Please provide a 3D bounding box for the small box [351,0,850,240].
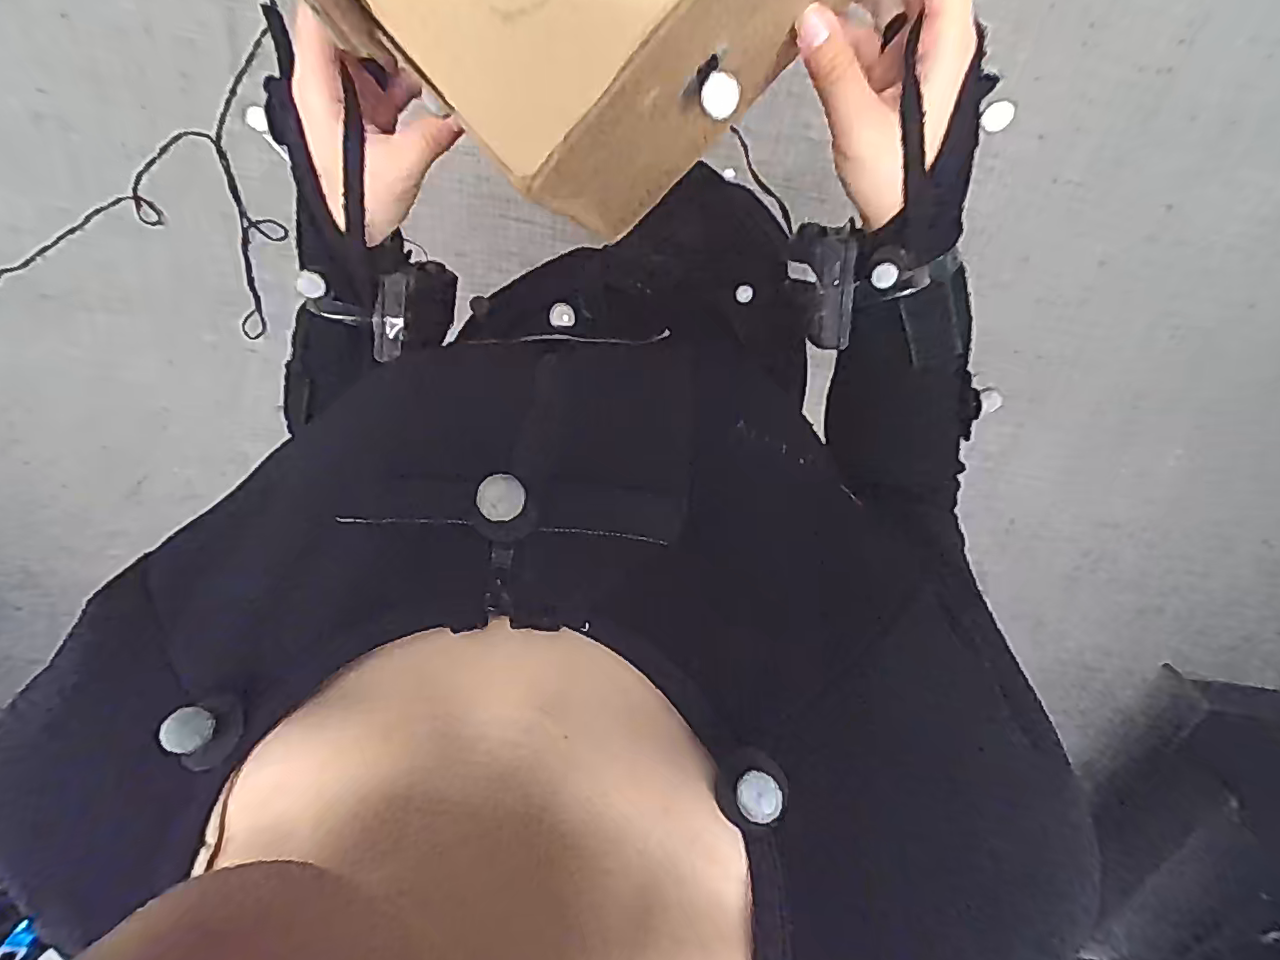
[{"bbox_3d":[-0.013,-0.222,0.212,0.179,0.176,0.168,-41,99,17],"label":"small box"}]
